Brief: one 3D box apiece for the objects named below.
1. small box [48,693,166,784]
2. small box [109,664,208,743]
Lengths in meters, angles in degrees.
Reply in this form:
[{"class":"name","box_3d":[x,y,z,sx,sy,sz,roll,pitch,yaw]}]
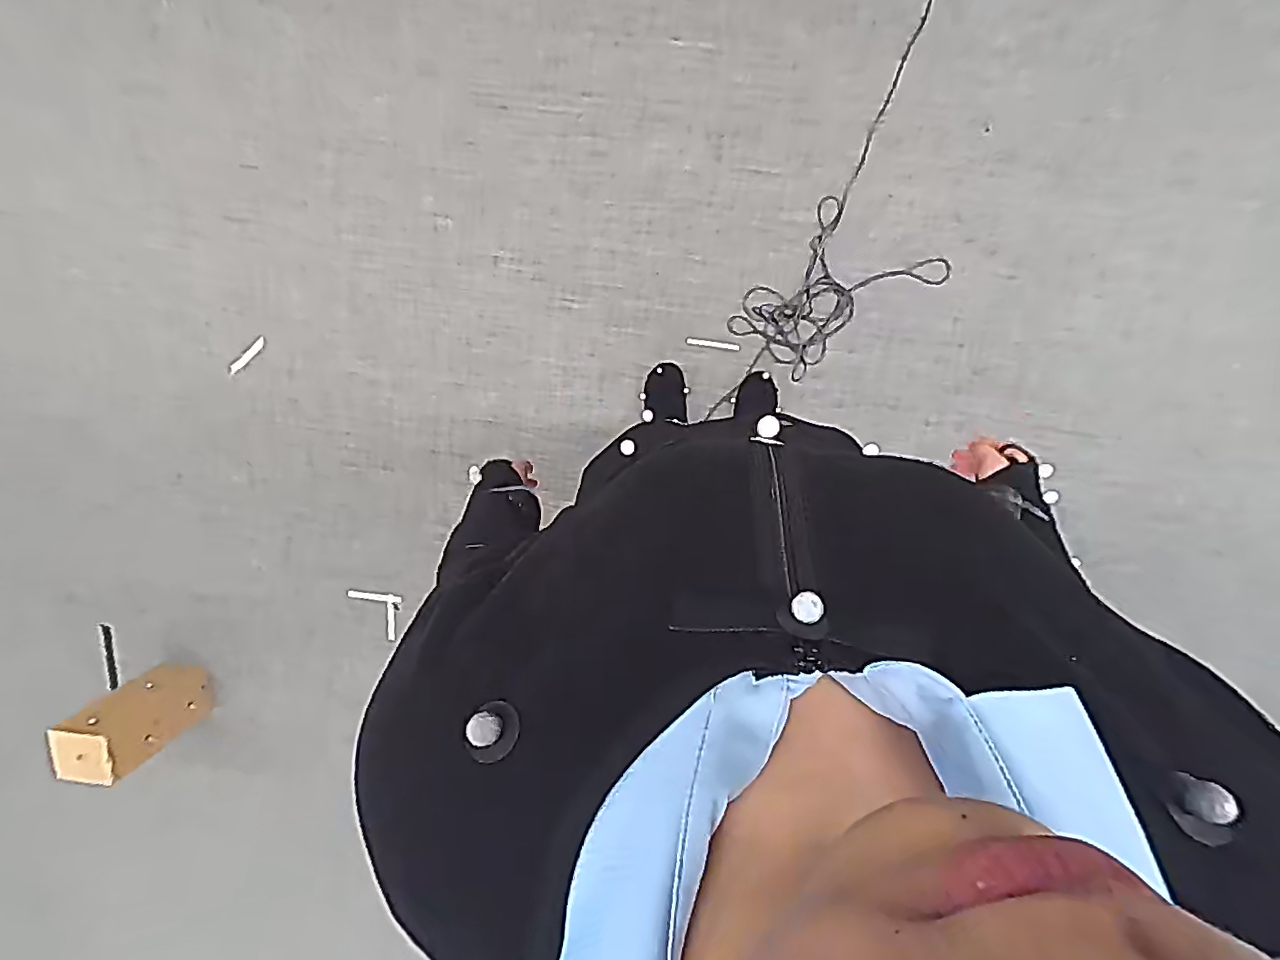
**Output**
[{"class":"small box","box_3d":[-1.557,0.753,1.590,0.179,0.176,0.168,5,104,3]},{"class":"small box","box_3d":[-1.541,0.715,1.748,0.179,0.176,0.168,4,103,5]}]
